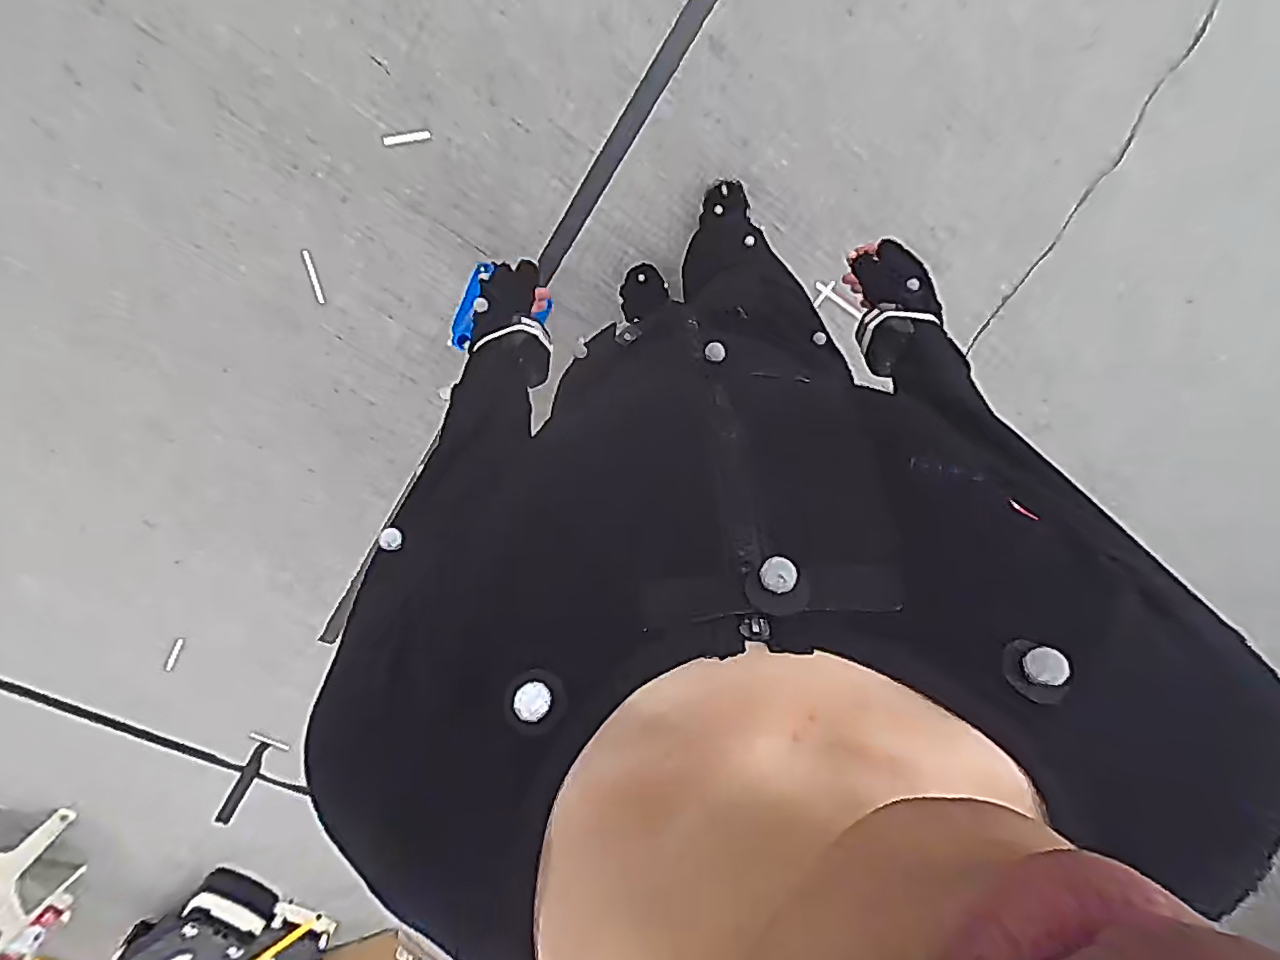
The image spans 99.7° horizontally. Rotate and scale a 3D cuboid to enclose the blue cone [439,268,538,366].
[{"bbox_3d":[-0.357,-0.336,1.192,0.192,0.380,0.193,28,109,-13],"label":"blue cone"}]
